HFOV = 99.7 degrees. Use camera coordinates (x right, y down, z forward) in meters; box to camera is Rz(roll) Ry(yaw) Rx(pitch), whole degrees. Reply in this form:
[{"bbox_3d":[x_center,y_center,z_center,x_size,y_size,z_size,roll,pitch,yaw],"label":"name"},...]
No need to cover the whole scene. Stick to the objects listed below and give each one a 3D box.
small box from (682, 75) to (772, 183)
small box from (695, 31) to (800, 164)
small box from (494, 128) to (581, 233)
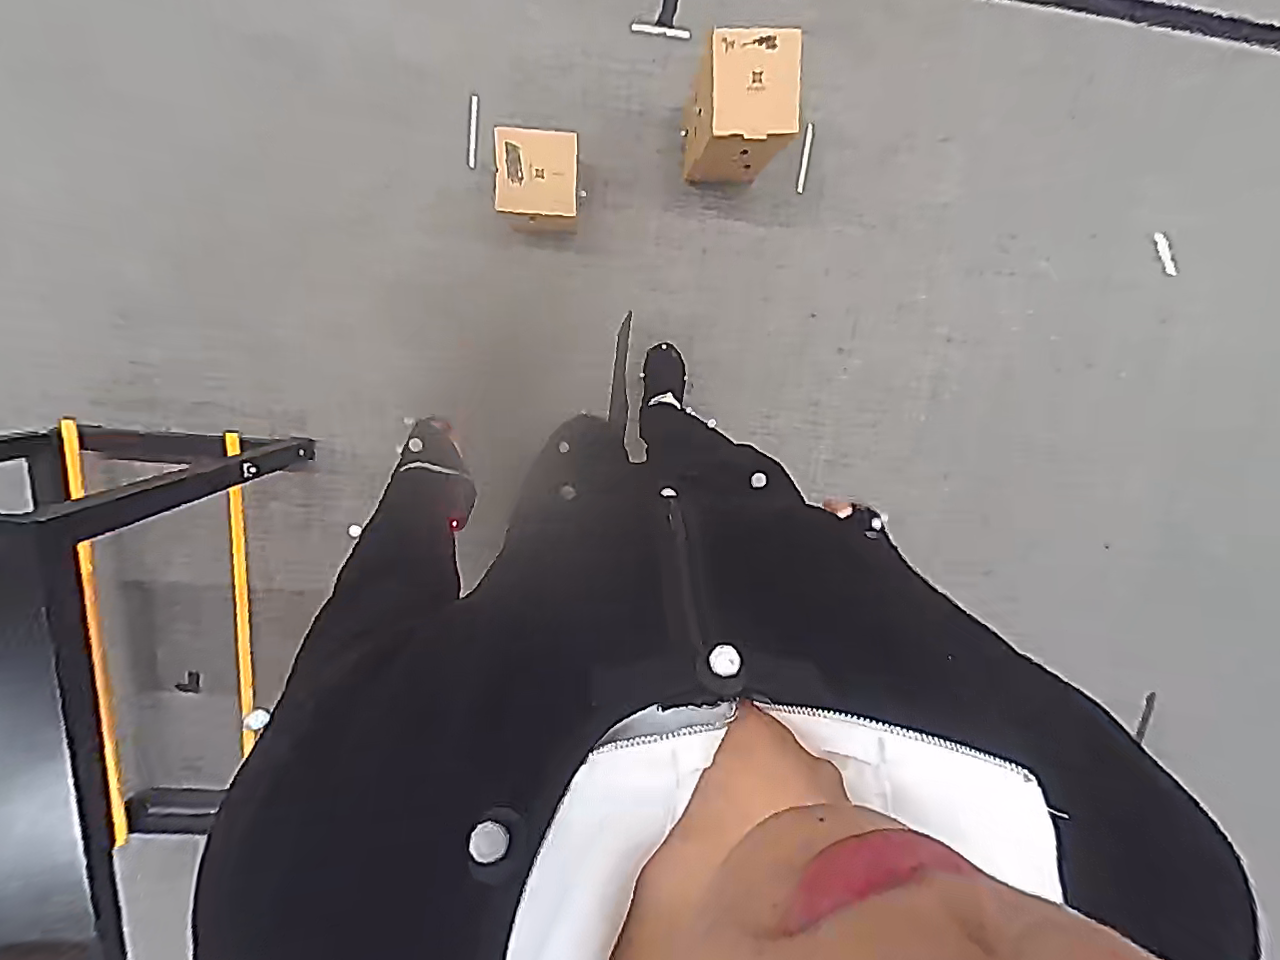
[{"bbox_3d":[0.197,-0.793,1.233,0.179,0.176,0.168,-1,103,-4],"label":"small box"},{"bbox_3d":[0.205,-0.748,1.076,0.168,0.176,0.179,-2,104,-4],"label":"small box"},{"bbox_3d":[-0.228,-0.672,1.231,0.179,0.176,0.168,2,103,-5],"label":"small box"}]
